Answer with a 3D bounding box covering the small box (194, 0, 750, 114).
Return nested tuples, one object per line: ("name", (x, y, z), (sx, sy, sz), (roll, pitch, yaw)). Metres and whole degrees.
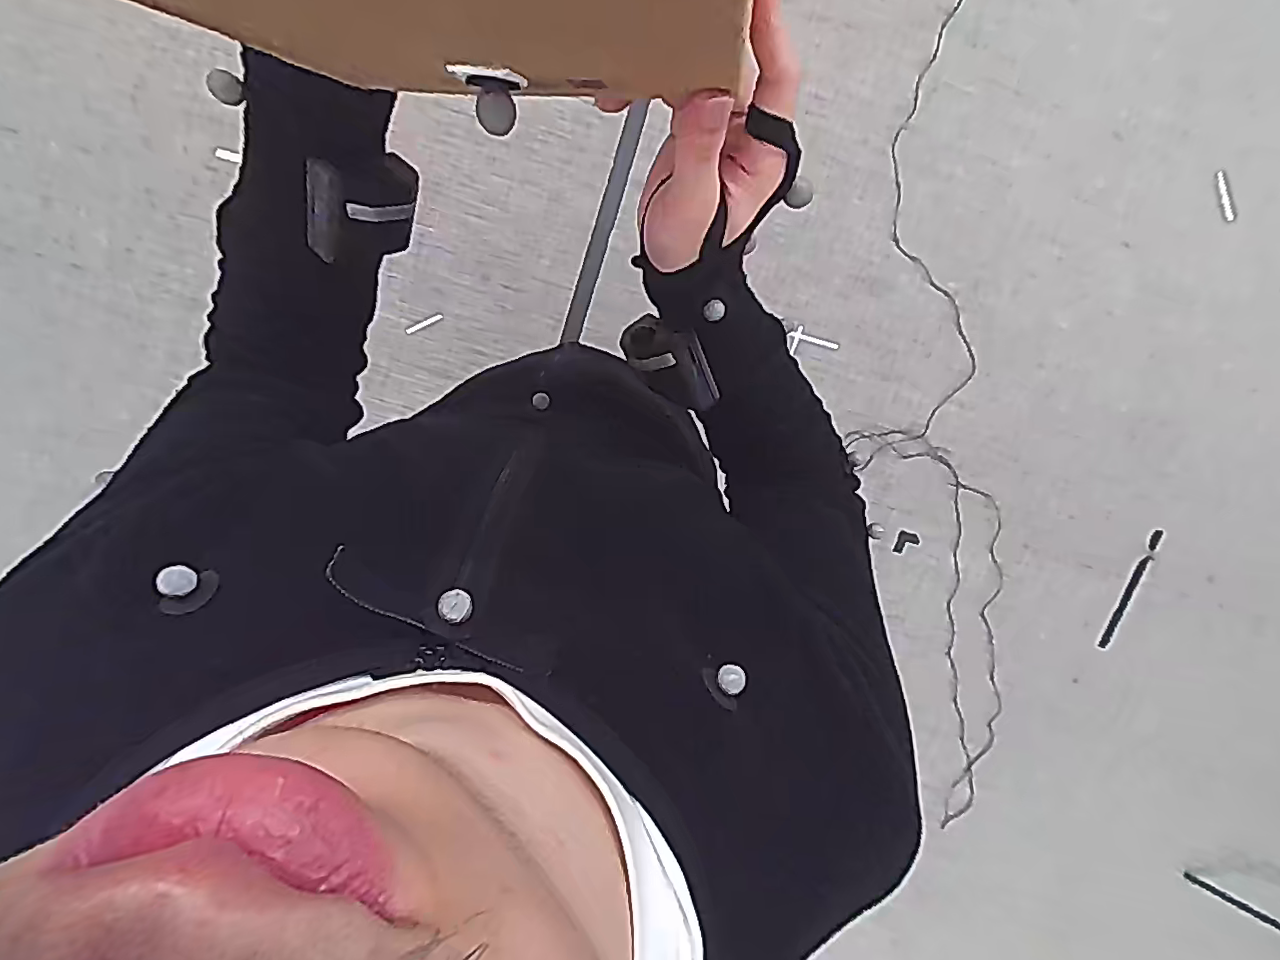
("small box", (-0.045, -0.217, 0.142), (0.168, 0.176, 0.179), (5, 116, 8))
